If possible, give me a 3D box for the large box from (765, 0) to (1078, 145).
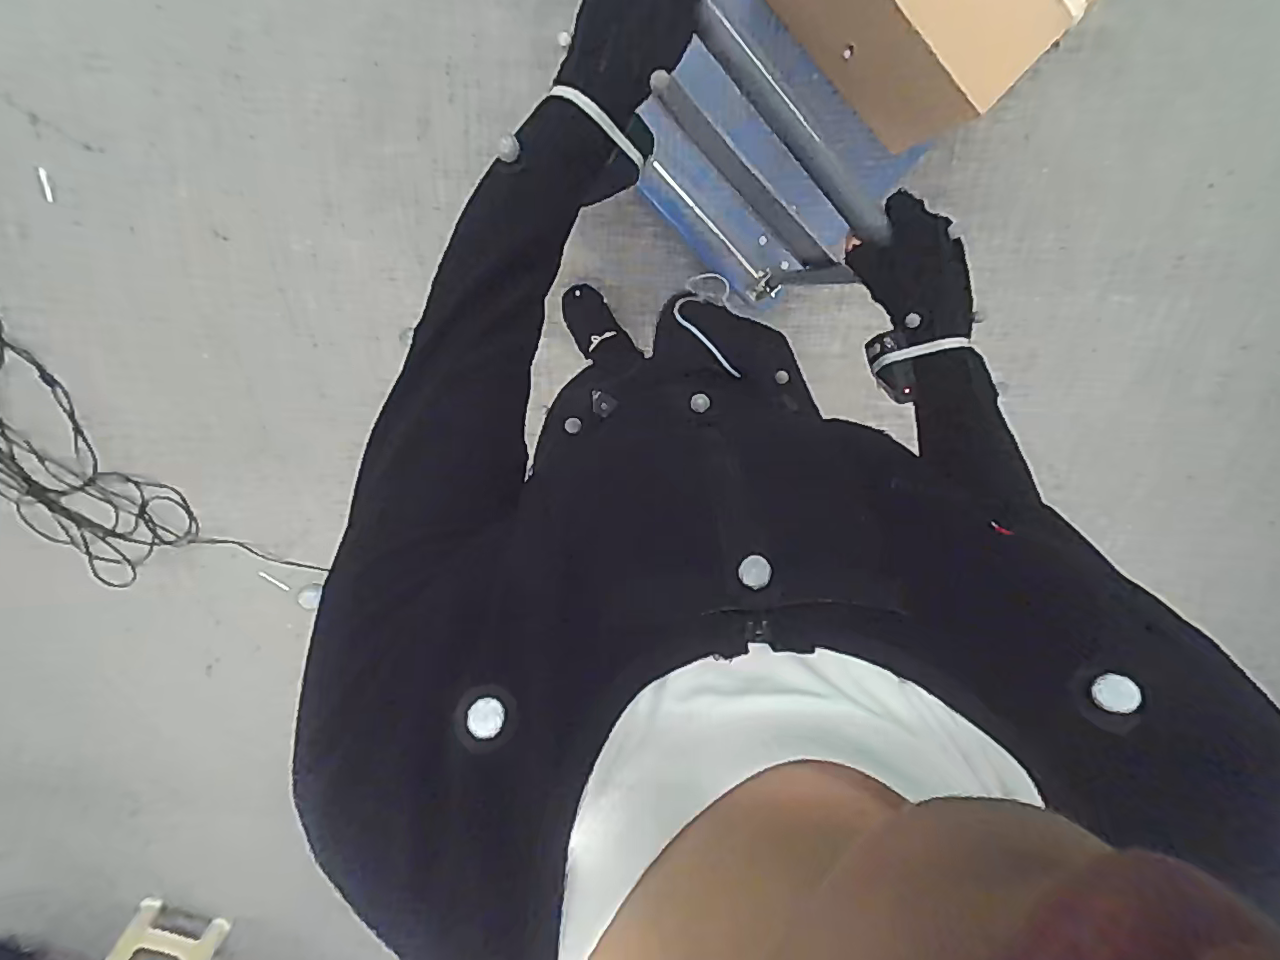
[{"bbox_3d":[0.448,-0.824,0.841,0.408,0.320,0.320,39,106,-13],"label":"large box"}]
